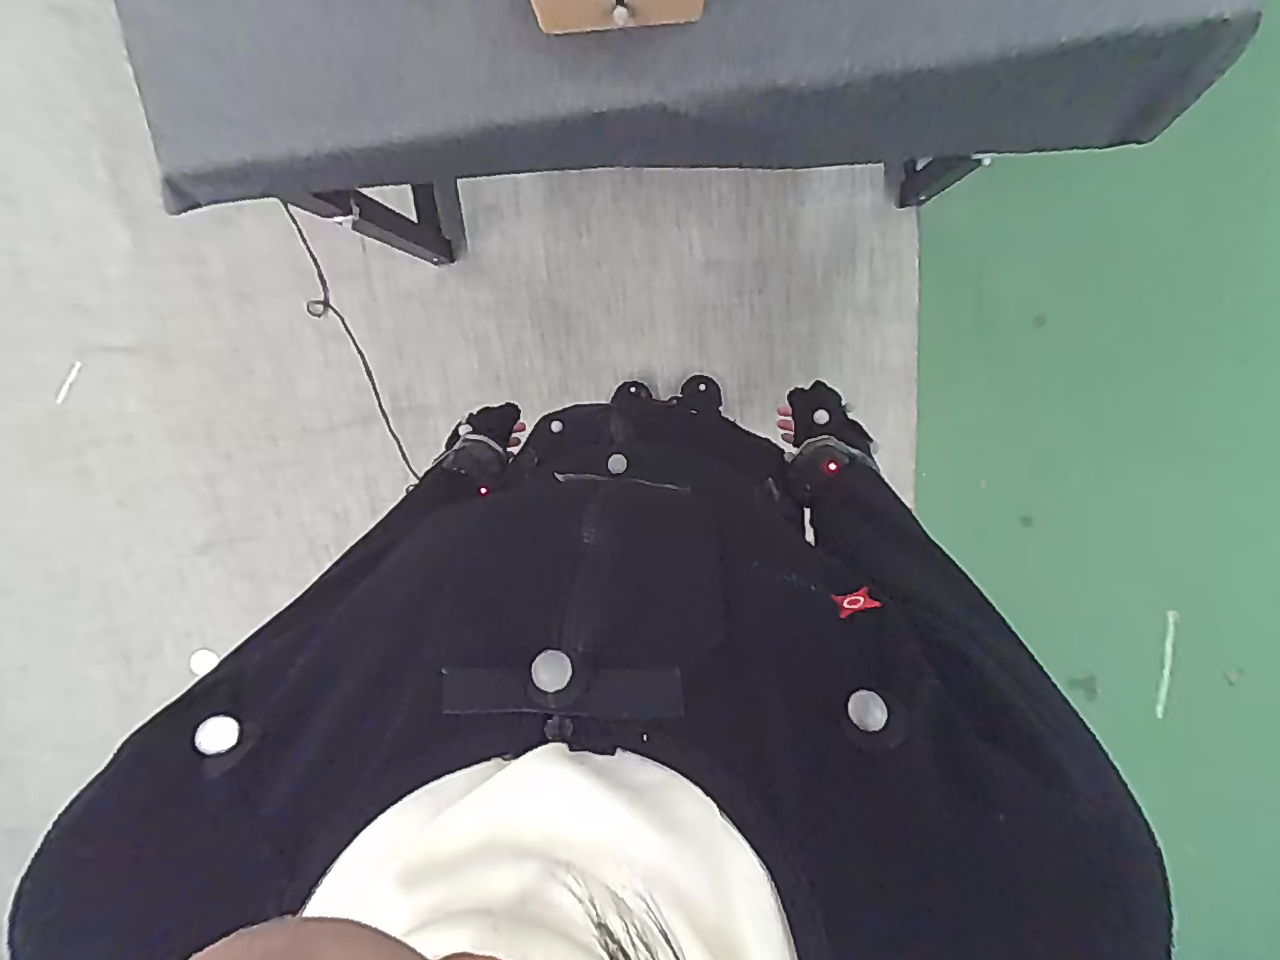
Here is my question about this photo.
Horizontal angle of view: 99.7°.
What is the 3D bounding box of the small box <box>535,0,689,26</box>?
[{"bbox_3d":[-0.027,-0.561,0.494,0.179,0.176,0.168,-3,101,3],"label":"small box"}]
